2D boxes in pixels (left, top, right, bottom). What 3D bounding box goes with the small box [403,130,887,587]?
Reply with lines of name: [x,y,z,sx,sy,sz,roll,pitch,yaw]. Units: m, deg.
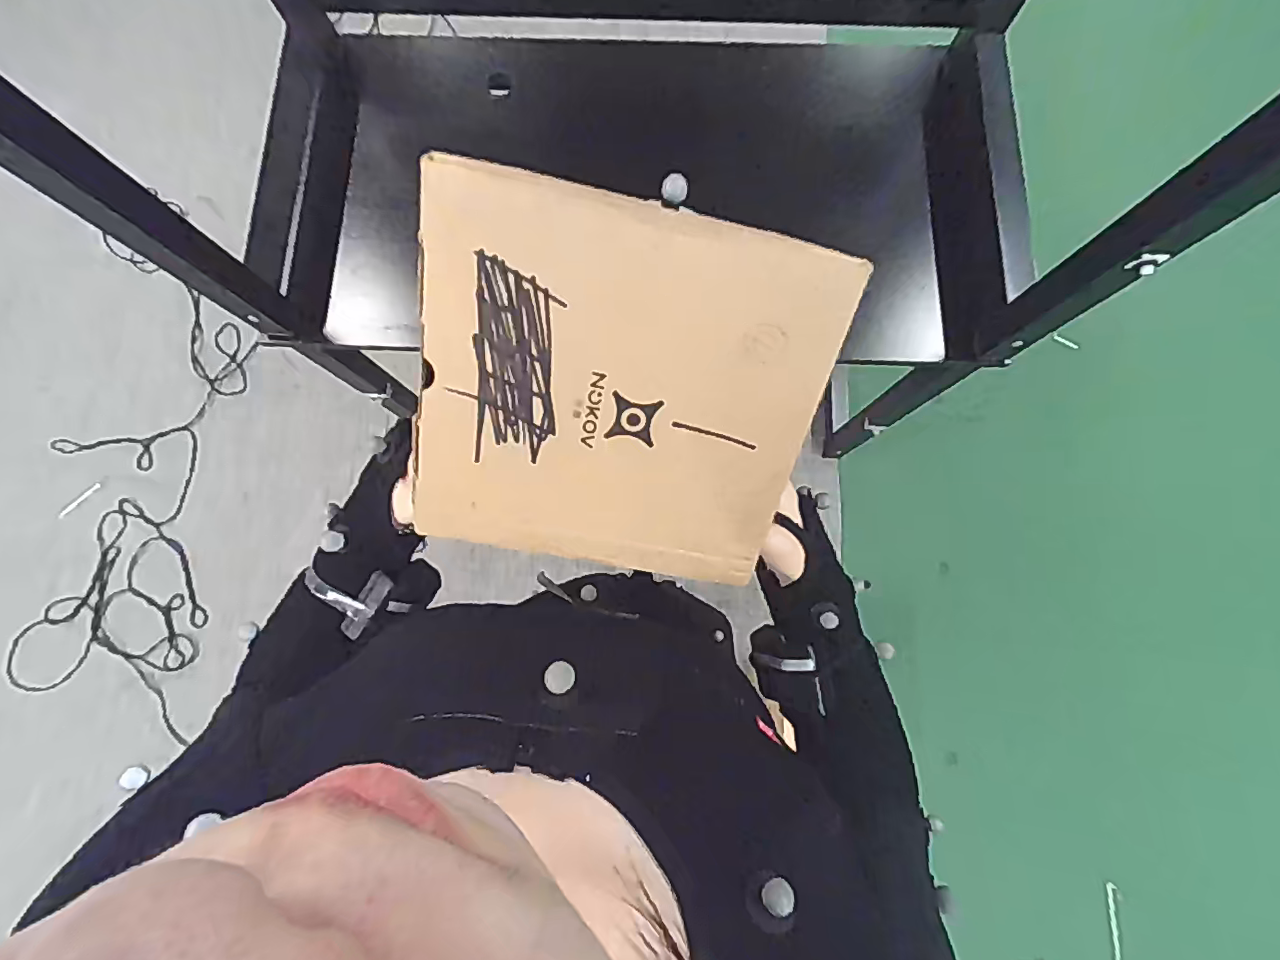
small box: [-0.010,-0.070,0.297,0.179,0.176,0.168,11,118,-6]

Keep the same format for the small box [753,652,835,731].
small box: [0.384,0.532,1.368,0.179,0.176,0.168,1,80,1]

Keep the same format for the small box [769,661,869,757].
small box: [0.389,0.503,1.207,0.179,0.176,0.168,2,79,0]
